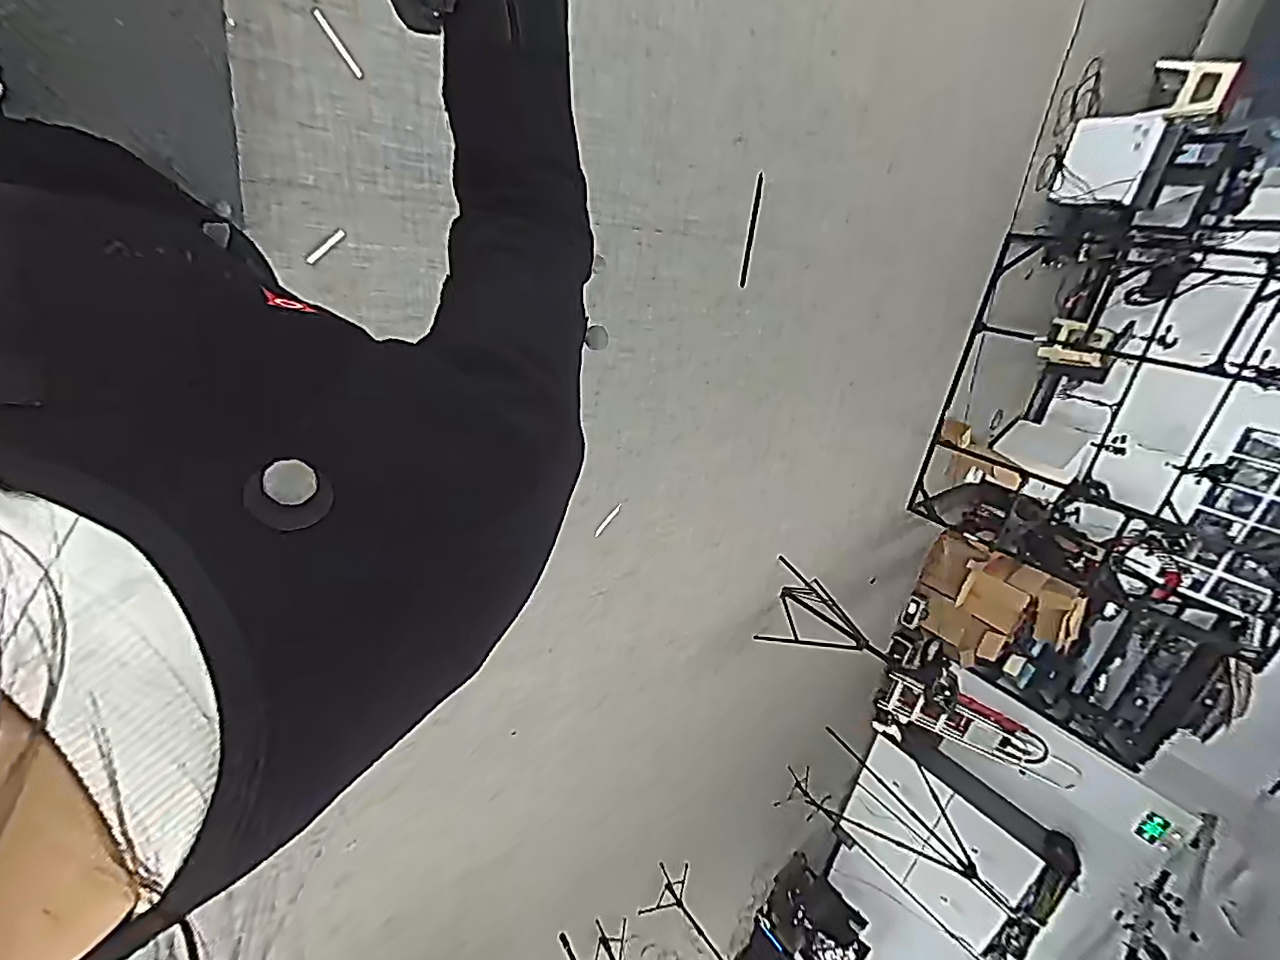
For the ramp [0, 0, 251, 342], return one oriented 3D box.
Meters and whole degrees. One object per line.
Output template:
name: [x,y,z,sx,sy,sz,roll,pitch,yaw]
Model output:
ramp: [-0.932,-0.689,0.826,0.509,0.206,0.991,-12,122,-39]
